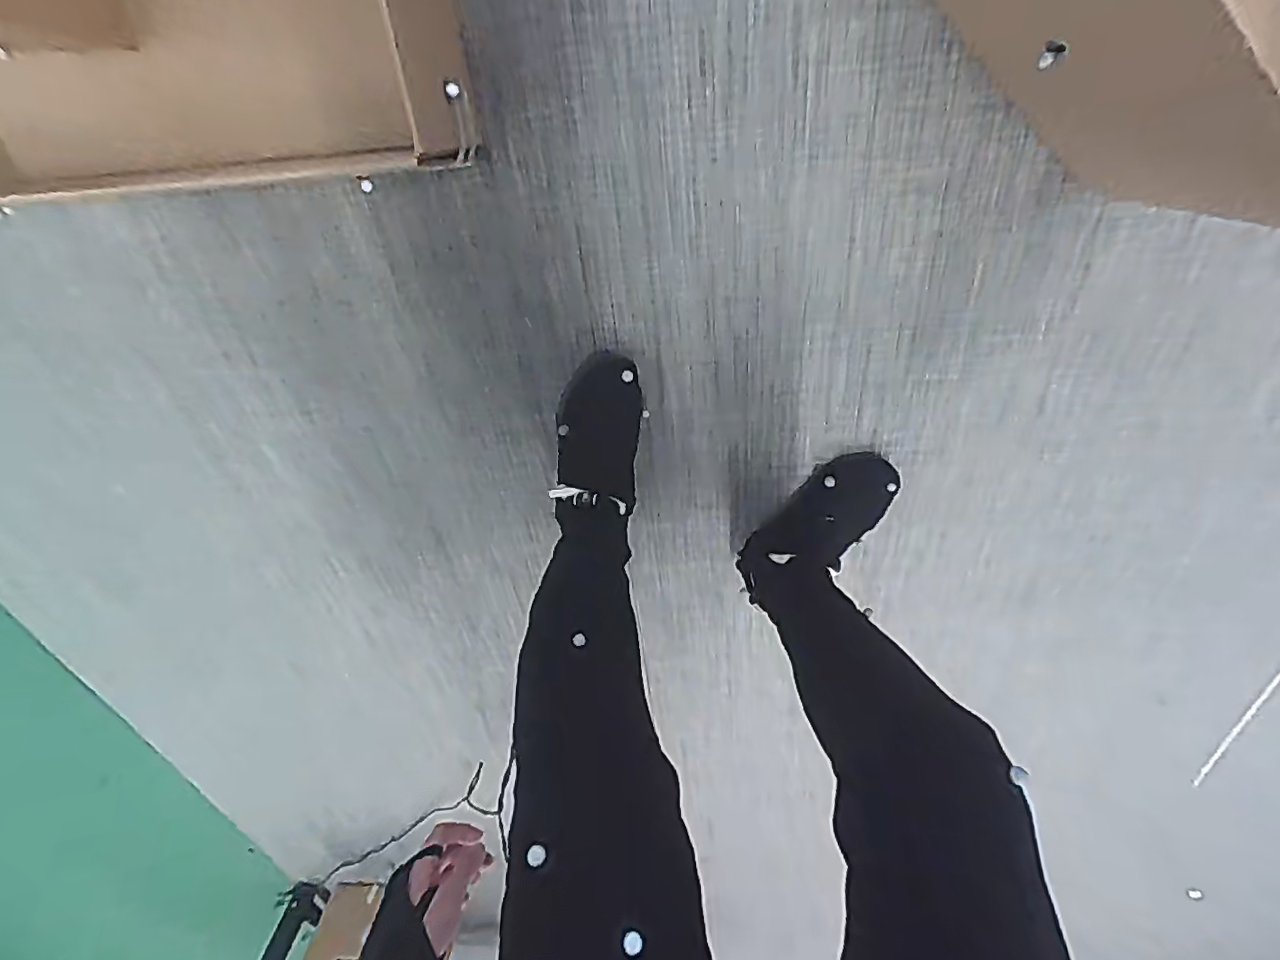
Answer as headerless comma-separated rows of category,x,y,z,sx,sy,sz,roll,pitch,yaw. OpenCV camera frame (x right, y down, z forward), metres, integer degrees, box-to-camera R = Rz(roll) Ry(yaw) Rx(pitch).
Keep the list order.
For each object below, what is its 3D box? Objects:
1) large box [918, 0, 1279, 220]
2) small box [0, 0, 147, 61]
large box,0.427,-0.445,0.365,0.408,0.320,0.320,34,118,-15
small box,-0.591,-0.471,0.453,0.168,0.176,0.179,0,124,1
